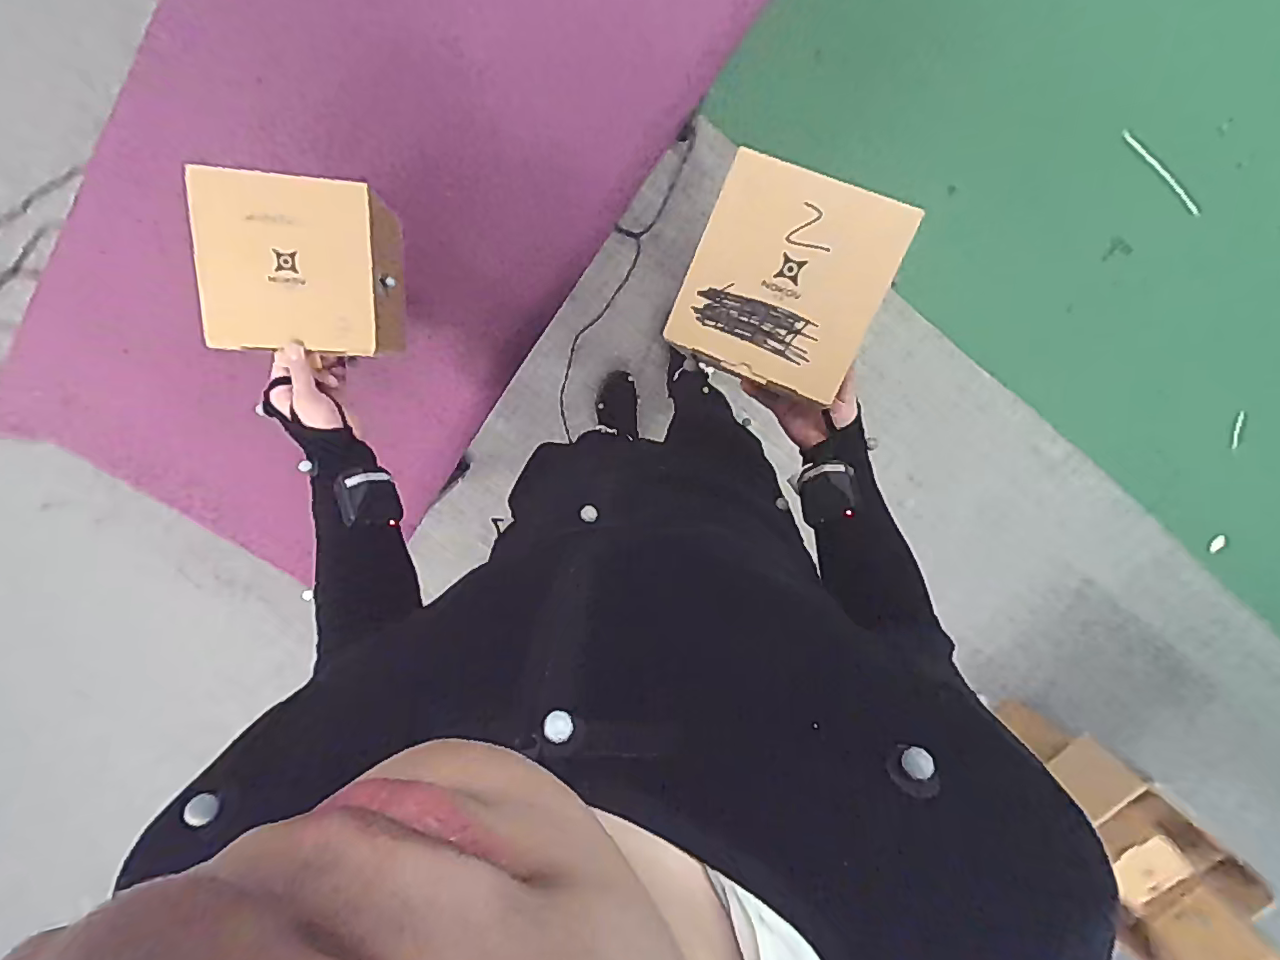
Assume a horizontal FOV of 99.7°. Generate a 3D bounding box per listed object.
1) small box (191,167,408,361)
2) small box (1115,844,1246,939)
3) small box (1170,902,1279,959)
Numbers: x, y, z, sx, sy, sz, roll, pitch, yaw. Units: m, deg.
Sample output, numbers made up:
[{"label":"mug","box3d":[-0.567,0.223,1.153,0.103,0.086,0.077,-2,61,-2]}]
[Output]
[{"label":"small box","box3d":[-0.376,-0.234,0.633,0.168,0.176,0.179,1,101,-12]},{"label":"small box","box3d":[1.443,1.122,1.437,0.179,0.176,0.168,38,100,-8]},{"label":"small box","box3d":[1.442,1.158,1.279,0.179,0.176,0.168,37,101,-8]}]
